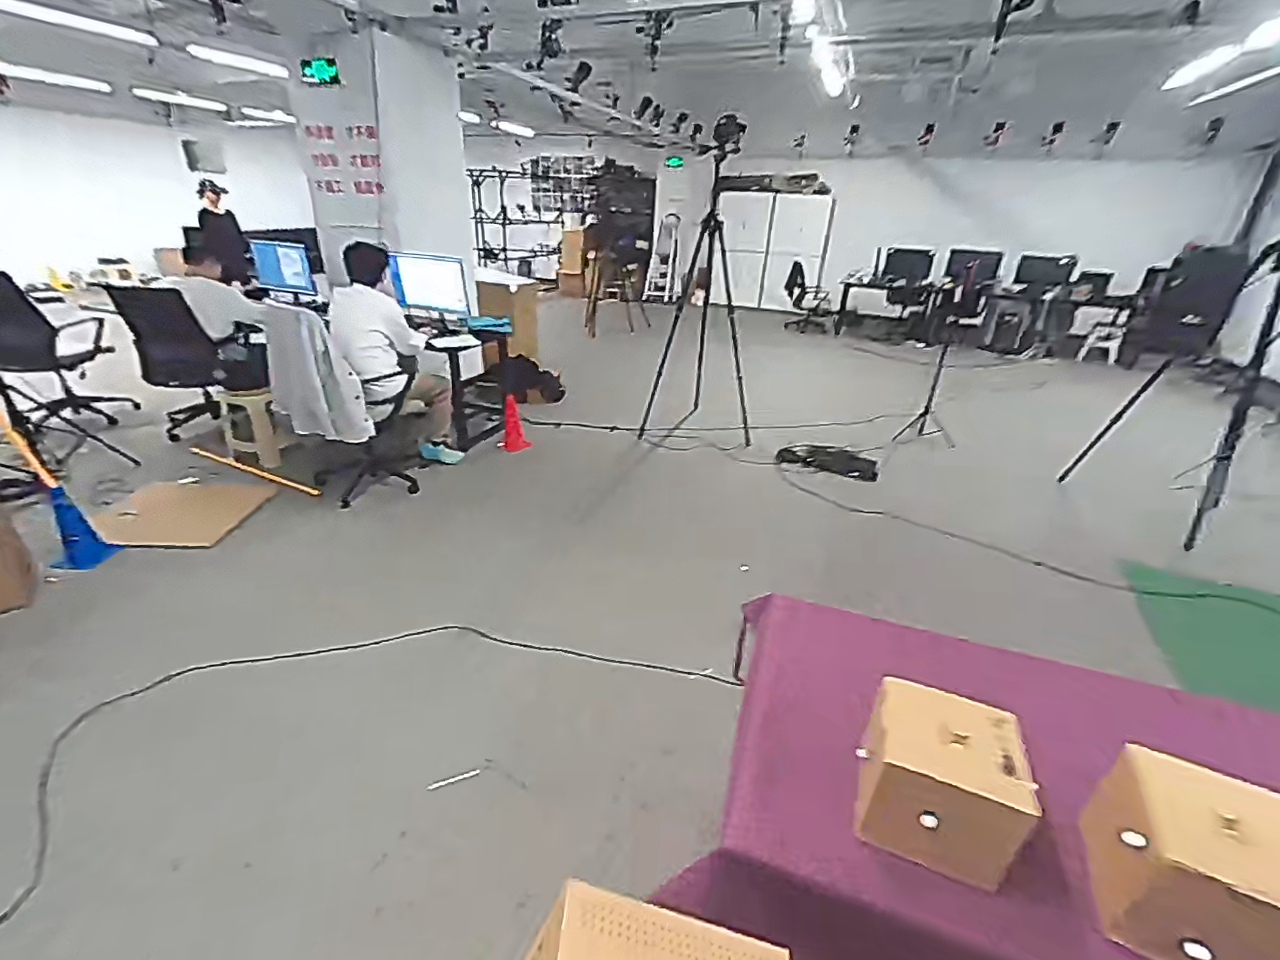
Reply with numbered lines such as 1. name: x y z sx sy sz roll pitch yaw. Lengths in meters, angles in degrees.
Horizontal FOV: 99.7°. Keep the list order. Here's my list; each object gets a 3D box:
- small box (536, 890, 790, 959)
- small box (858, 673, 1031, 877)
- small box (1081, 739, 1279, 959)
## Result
1. small box: 0.005 0.404 0.334 0.179 0.168 0.176 23 17 -5
2. small box: 0.421 0.419 0.777 0.179 0.176 0.168 12 29 20
3. small box: 0.697 0.481 0.683 0.168 0.176 0.179 15 30 24
